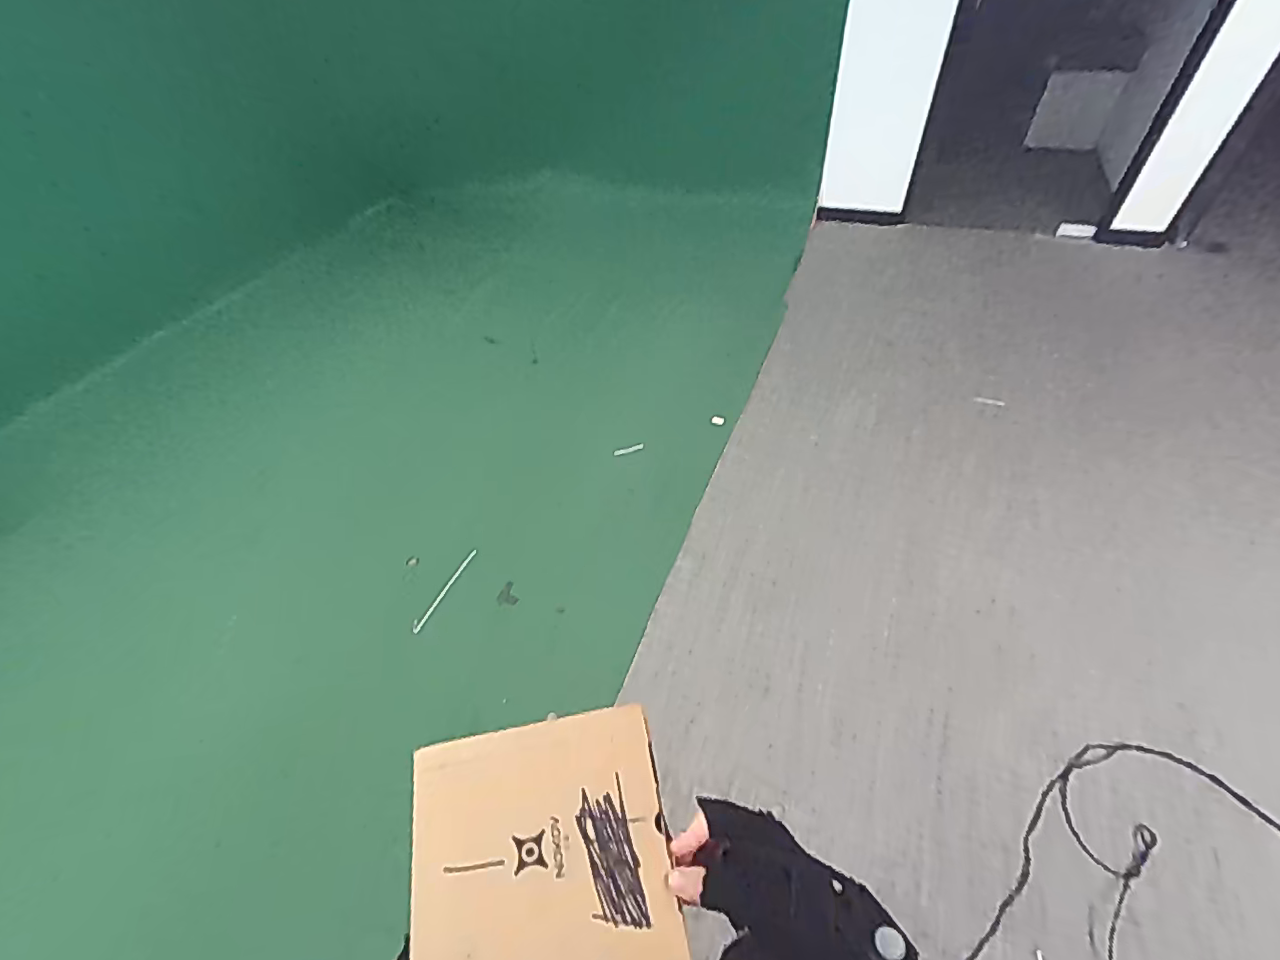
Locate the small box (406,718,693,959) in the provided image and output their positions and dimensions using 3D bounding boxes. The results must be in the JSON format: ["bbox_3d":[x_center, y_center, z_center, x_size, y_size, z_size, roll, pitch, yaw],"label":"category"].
[{"bbox_3d":[-0.068,0.302,0.426,0.179,0.176,0.168,-9,57,-7],"label":"small box"}]
